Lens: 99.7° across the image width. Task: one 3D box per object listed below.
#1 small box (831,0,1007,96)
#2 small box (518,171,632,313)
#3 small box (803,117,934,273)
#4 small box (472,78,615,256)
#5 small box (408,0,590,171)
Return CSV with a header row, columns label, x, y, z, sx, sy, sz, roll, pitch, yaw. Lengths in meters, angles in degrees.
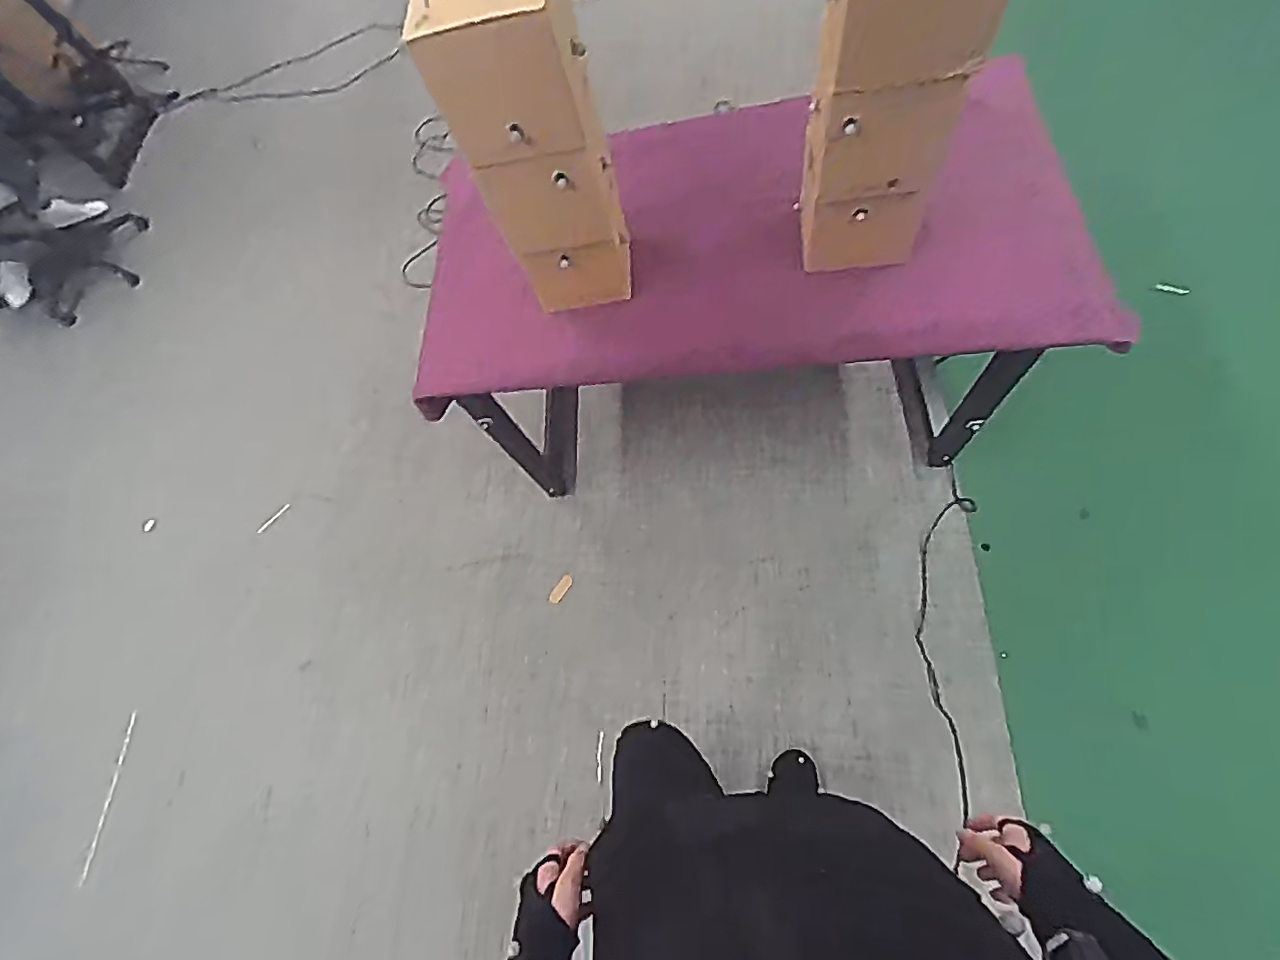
label,x,y,z,sx,sy,sz,roll,pitch,yaw
small box,0.320,-0.582,0.624,0.179,0.176,0.168,1,69,11
small box,-0.112,-0.438,1.013,0.179,0.176,0.168,-6,68,9
small box,0.378,-0.479,0.930,0.179,0.176,0.168,-1,68,10
small box,-0.139,-0.485,0.856,0.179,0.176,0.168,-4,67,10
small box,-0.167,-0.541,0.705,0.179,0.176,0.168,-4,68,9
